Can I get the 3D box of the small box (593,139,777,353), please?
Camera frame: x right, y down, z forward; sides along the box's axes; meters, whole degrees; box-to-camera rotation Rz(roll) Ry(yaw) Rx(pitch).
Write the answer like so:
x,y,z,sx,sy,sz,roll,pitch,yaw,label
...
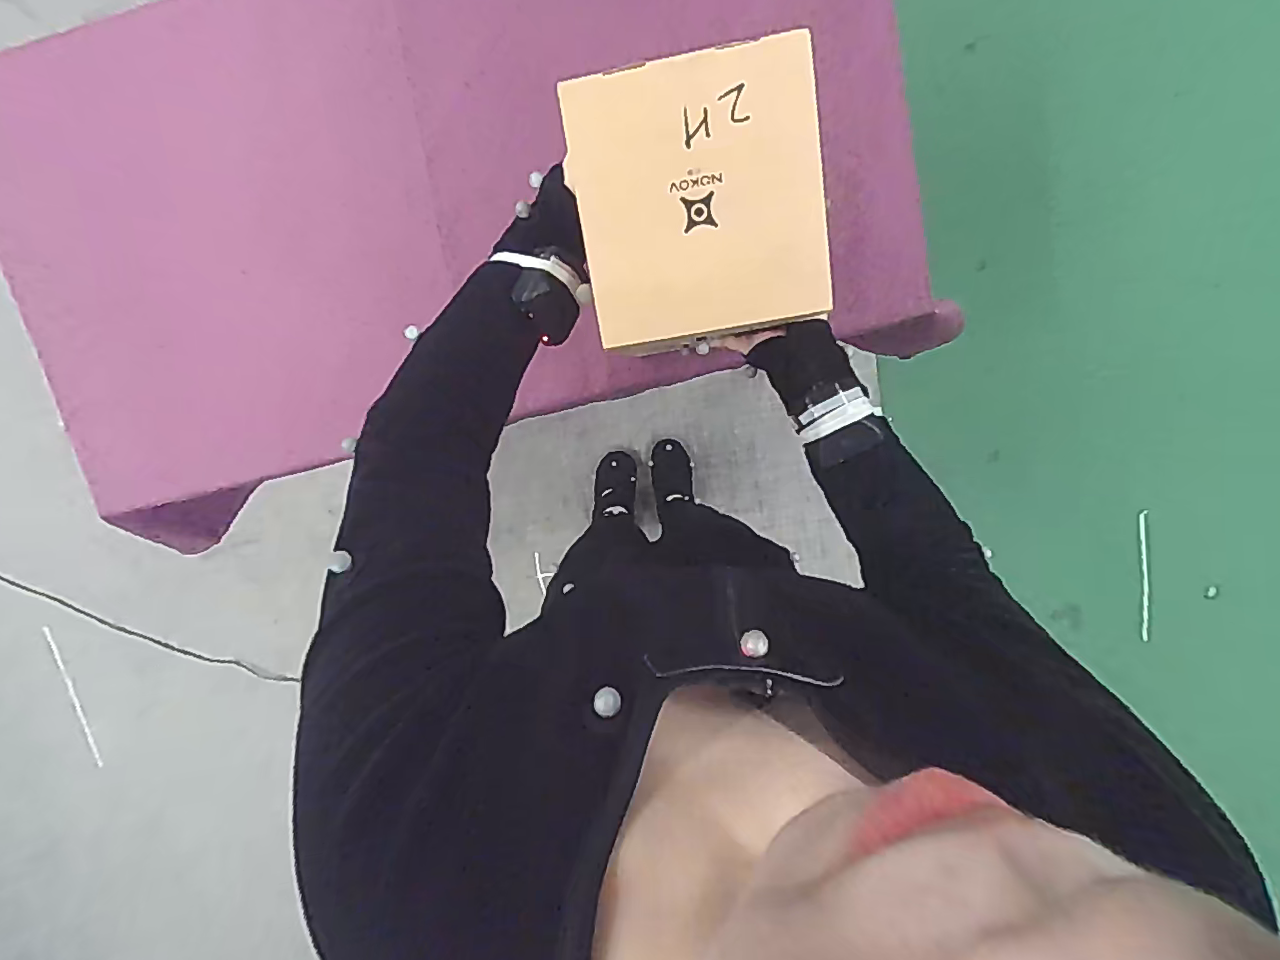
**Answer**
x,y,z,sx,sy,sz,roll,pitch,yaw,label
0.049,-0.245,0.611,0.168,0.176,0.179,-8,102,5,small box
